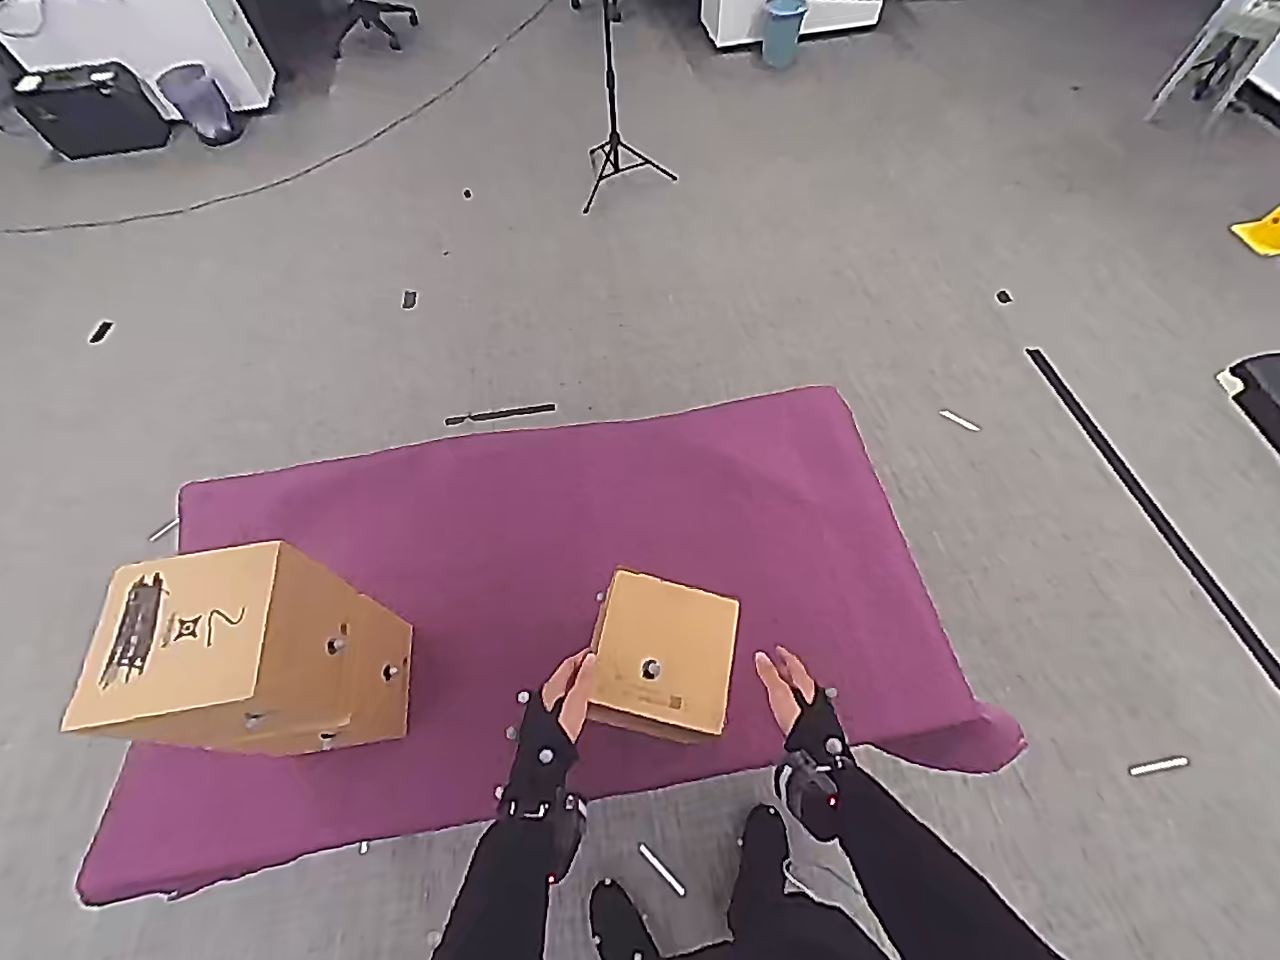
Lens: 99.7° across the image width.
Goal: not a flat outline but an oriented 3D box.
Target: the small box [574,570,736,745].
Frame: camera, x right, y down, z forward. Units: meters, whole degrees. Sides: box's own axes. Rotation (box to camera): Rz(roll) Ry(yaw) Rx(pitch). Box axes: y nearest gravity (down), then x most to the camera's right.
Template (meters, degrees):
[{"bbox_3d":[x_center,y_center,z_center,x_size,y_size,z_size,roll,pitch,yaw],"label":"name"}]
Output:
[{"bbox_3d":[0.015,0.245,0.719,0.168,0.179,0.176,15,60,-3],"label":"small box"}]

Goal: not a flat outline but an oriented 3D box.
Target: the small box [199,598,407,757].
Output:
[{"bbox_3d":[-0.440,0.276,0.744,0.179,0.176,0.168,-8,60,-3],"label":"small box"}]
